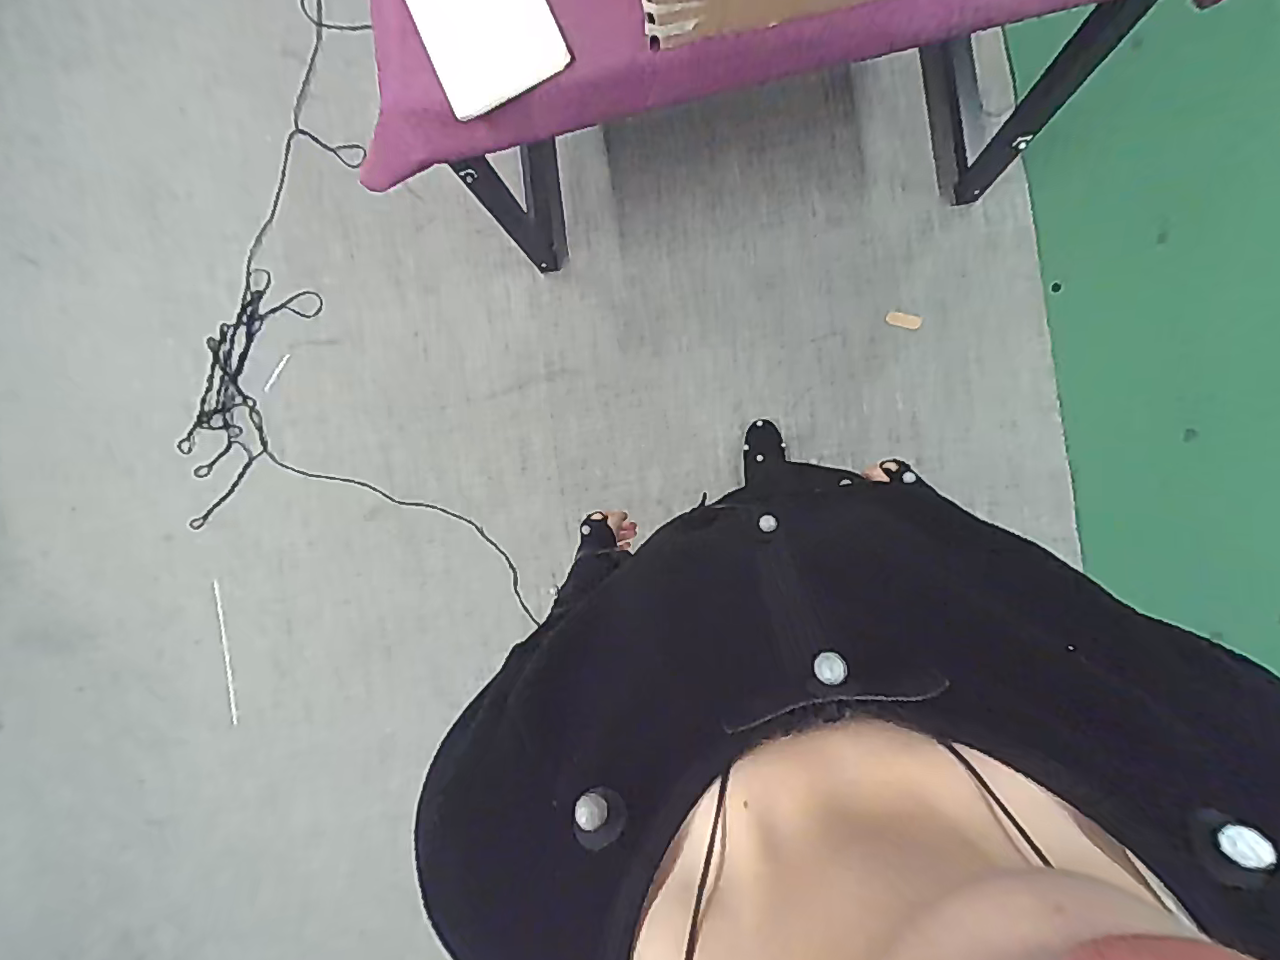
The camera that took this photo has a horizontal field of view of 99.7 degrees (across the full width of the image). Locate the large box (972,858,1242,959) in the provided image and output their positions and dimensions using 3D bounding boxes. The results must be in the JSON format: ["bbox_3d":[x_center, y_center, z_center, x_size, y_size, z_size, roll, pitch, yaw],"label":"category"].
[{"bbox_3d":[1.067,1.147,1.216,0.408,0.320,0.320,-22,87,7],"label":"large box"}]
